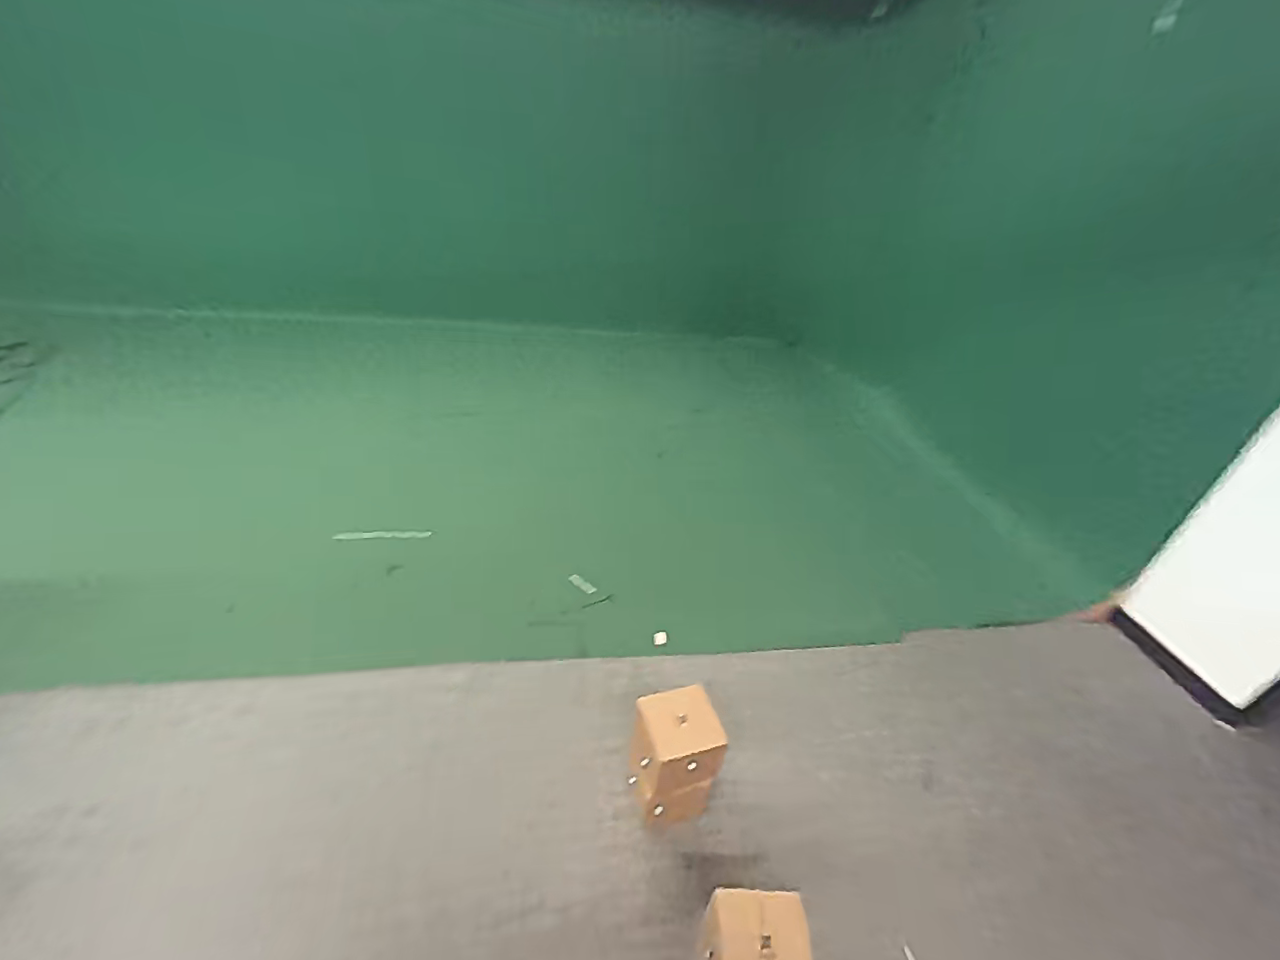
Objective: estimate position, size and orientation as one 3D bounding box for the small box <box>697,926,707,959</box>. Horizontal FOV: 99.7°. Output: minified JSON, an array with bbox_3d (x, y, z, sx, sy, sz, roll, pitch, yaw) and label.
[{"bbox_3d":[0.212,1.023,1.086,0.168,0.176,0.179,4,35,-3],"label":"small box"}]

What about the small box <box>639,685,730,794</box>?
[{"bbox_3d":[0.100,0.642,1.336,0.179,0.176,0.168,-5,36,-18],"label":"small box"}]

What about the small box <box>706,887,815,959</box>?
[{"bbox_3d":[0.218,0.886,0.992,0.168,0.176,0.179,4,33,-2],"label":"small box"}]
